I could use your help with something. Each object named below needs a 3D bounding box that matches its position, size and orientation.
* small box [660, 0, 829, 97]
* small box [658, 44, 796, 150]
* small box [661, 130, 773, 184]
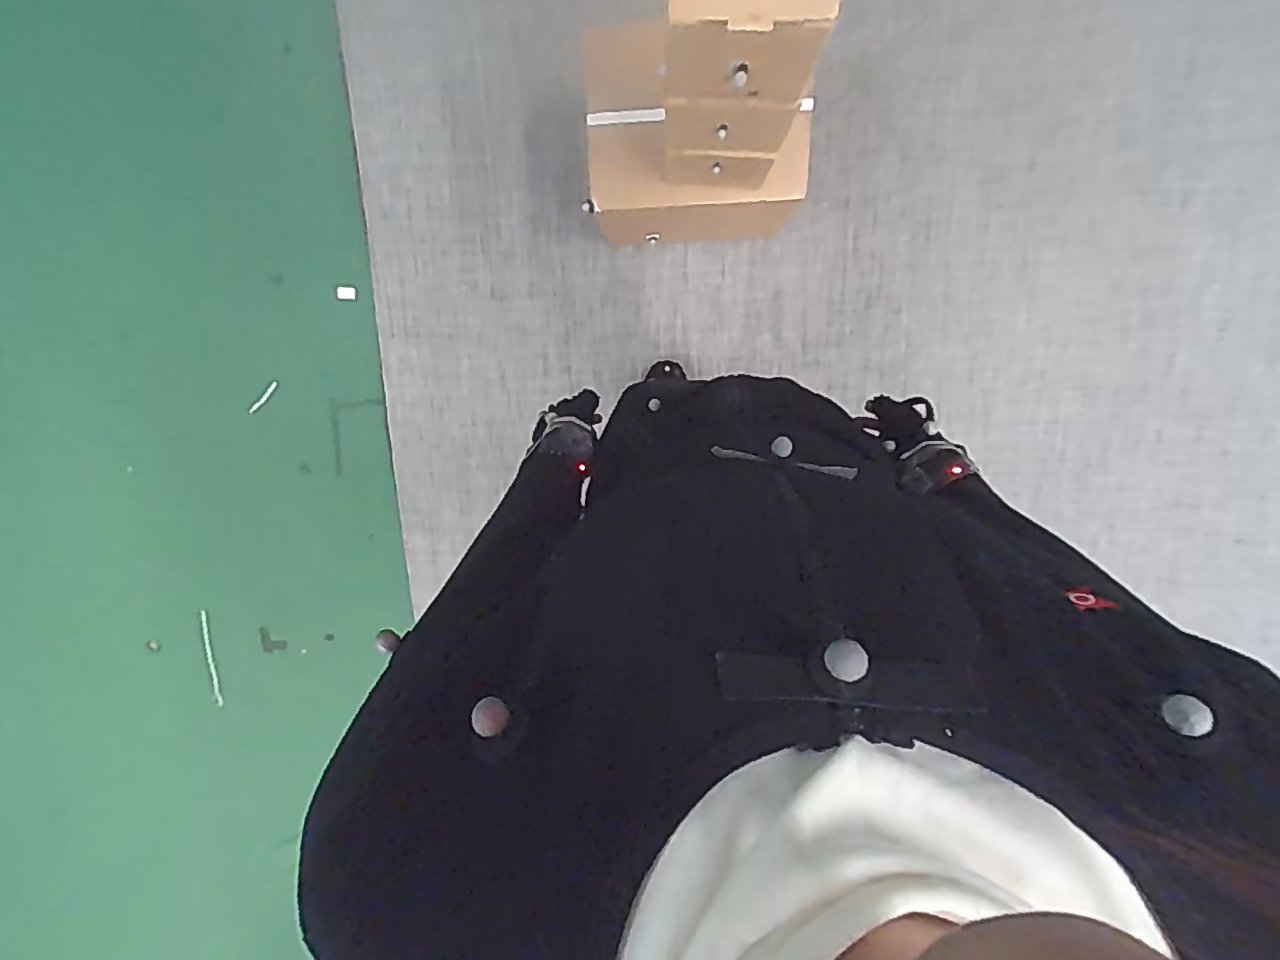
[{"bbox_3d":[0.113,-0.546,0.586,0.168,0.176,0.179,5,105,3],"label":"small box"},{"bbox_3d":[0.122,-0.577,0.747,0.179,0.176,0.168,5,104,5],"label":"small box"},{"bbox_3d":[0.131,-0.611,0.906,0.179,0.176,0.168,5,105,2],"label":"small box"}]
